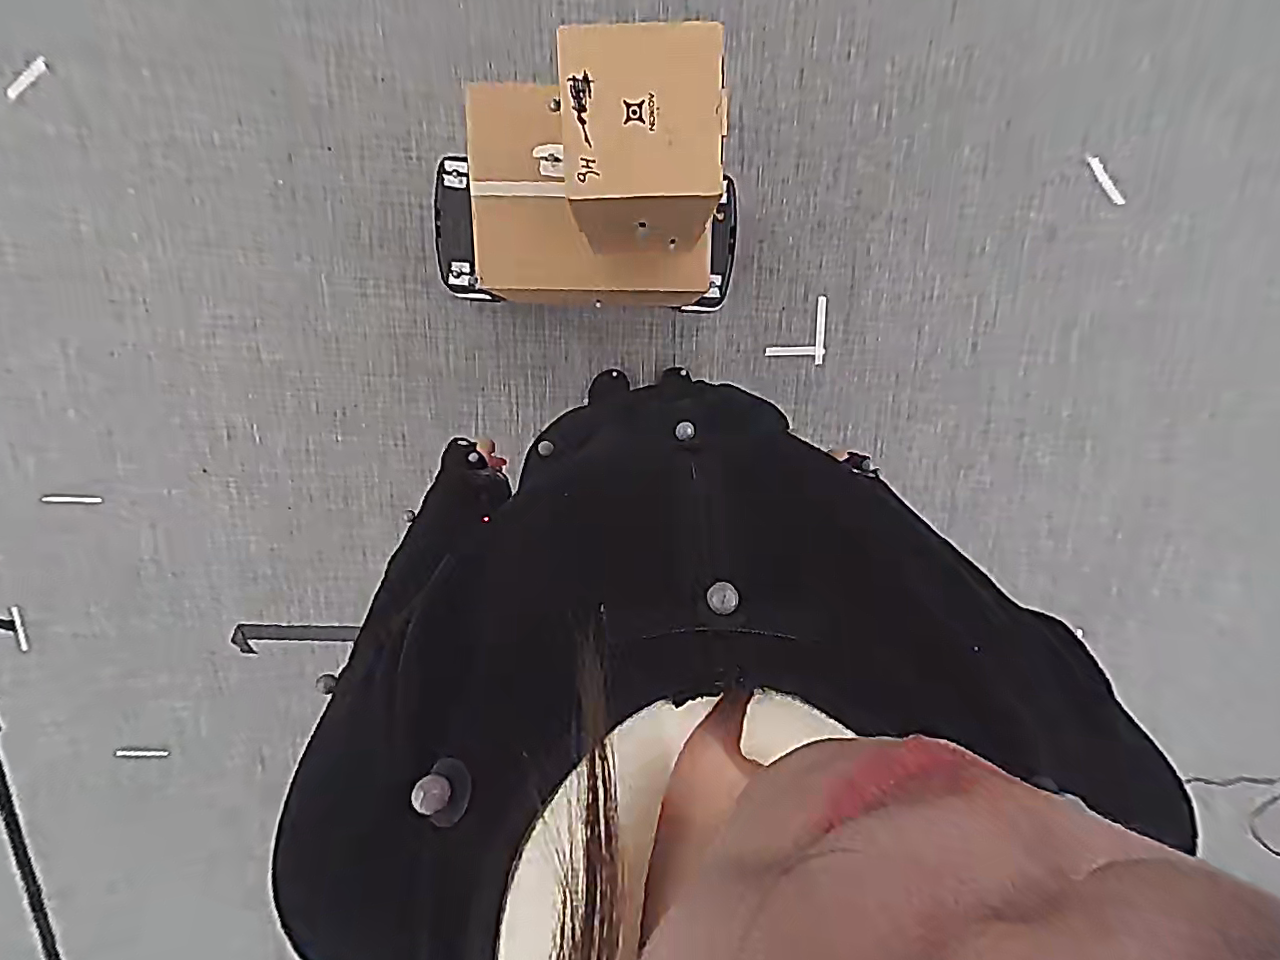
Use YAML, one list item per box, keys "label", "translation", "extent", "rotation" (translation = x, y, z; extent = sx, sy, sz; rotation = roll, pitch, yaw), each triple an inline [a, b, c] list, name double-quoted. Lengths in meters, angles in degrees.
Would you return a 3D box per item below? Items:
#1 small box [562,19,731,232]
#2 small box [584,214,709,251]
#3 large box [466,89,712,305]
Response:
- label: "small box"
  translation: [0.003, -0.404, 0.644]
  extent: [0.179, 0.176, 0.168]
  rotation: [-1, 102, -2]
- label: "small box"
  translation: [0.006, -0.444, 0.803]
  extent: [0.179, 0.176, 0.168]
  rotation: [-1, 103, -1]
- label: "large box"
  translation: [-0.079, -0.507, 1.037]
  extent: [0.408, 0.320, 0.320]
  rotation: [0, 102, -1]
